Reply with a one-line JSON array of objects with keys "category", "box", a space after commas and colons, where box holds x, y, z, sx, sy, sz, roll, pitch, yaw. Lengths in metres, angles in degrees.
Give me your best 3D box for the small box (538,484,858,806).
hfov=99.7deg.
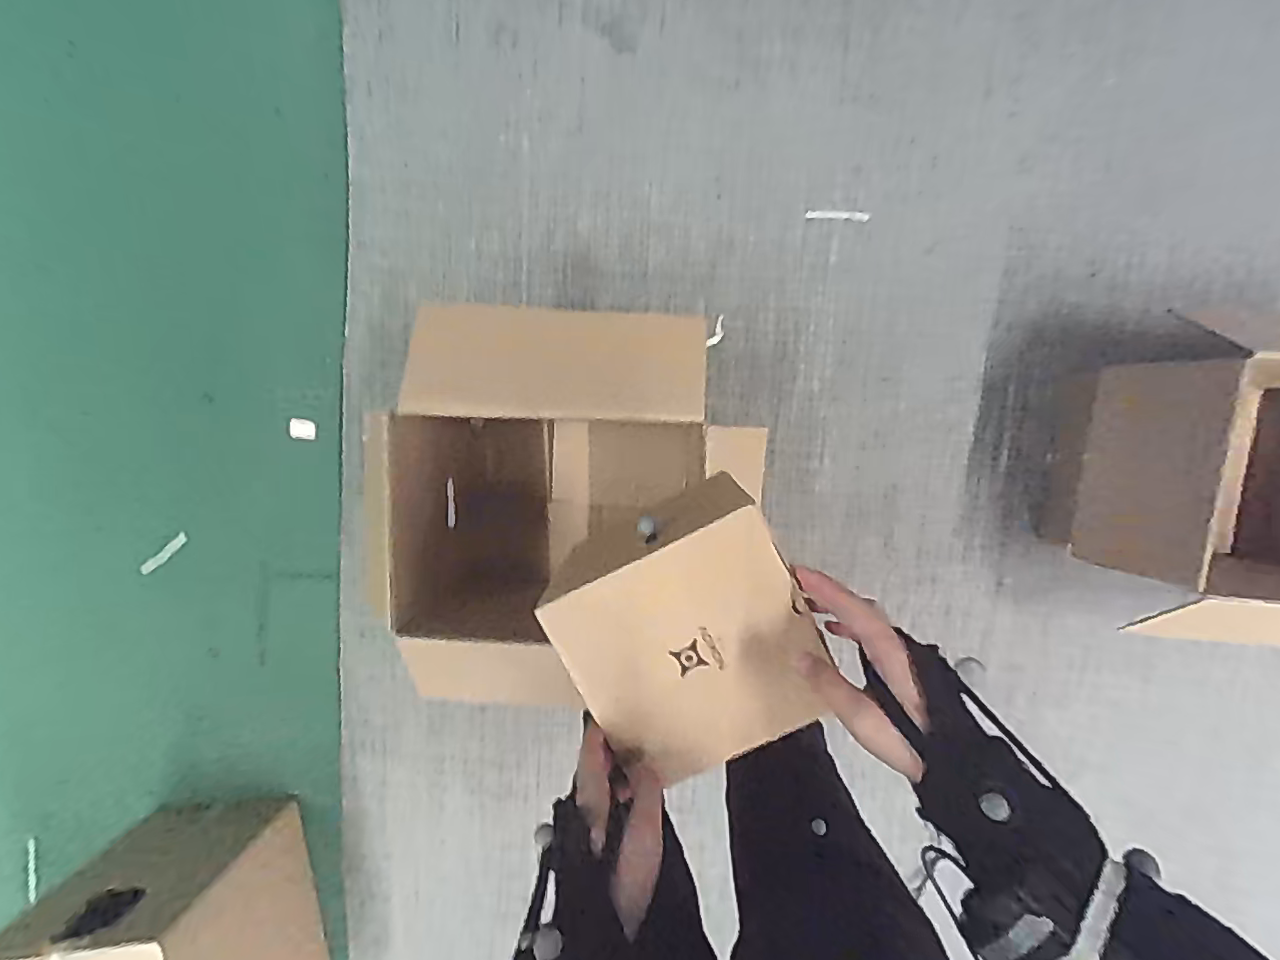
[{"category": "small box", "box": [0.043, 0.117, 0.451, 0.179, 0.176, 0.168, -26, 95, 4]}]
